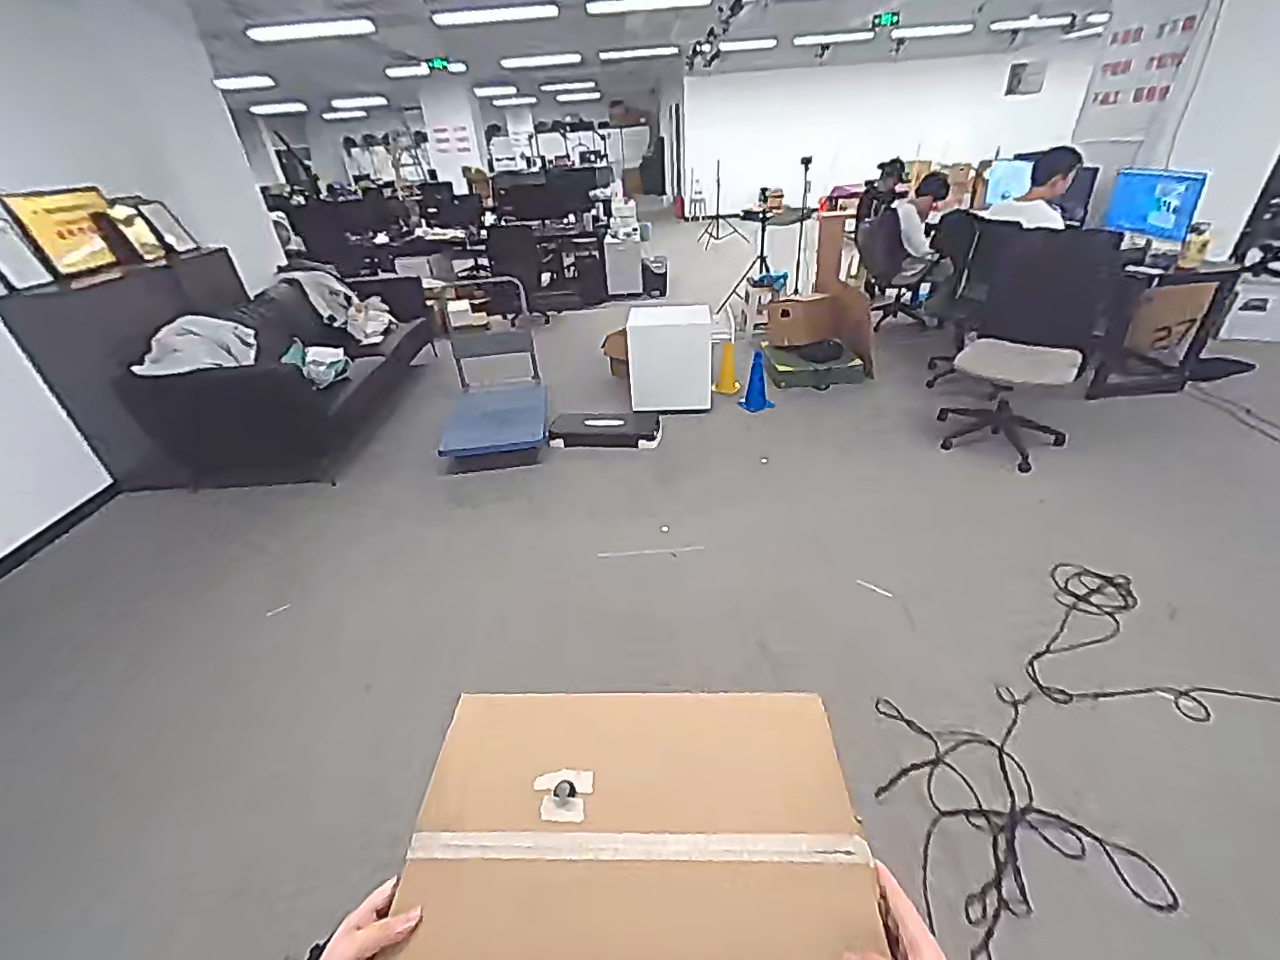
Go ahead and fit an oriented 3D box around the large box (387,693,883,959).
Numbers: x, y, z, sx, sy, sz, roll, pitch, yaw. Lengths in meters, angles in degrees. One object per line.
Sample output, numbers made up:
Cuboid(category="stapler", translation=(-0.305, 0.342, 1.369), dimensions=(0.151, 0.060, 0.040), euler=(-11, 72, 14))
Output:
Cuboid(category="large box", translation=(0.006, 0.459, 0.578), dimensions=(0.408, 0.320, 0.320), euler=(-3, 34, 5))
